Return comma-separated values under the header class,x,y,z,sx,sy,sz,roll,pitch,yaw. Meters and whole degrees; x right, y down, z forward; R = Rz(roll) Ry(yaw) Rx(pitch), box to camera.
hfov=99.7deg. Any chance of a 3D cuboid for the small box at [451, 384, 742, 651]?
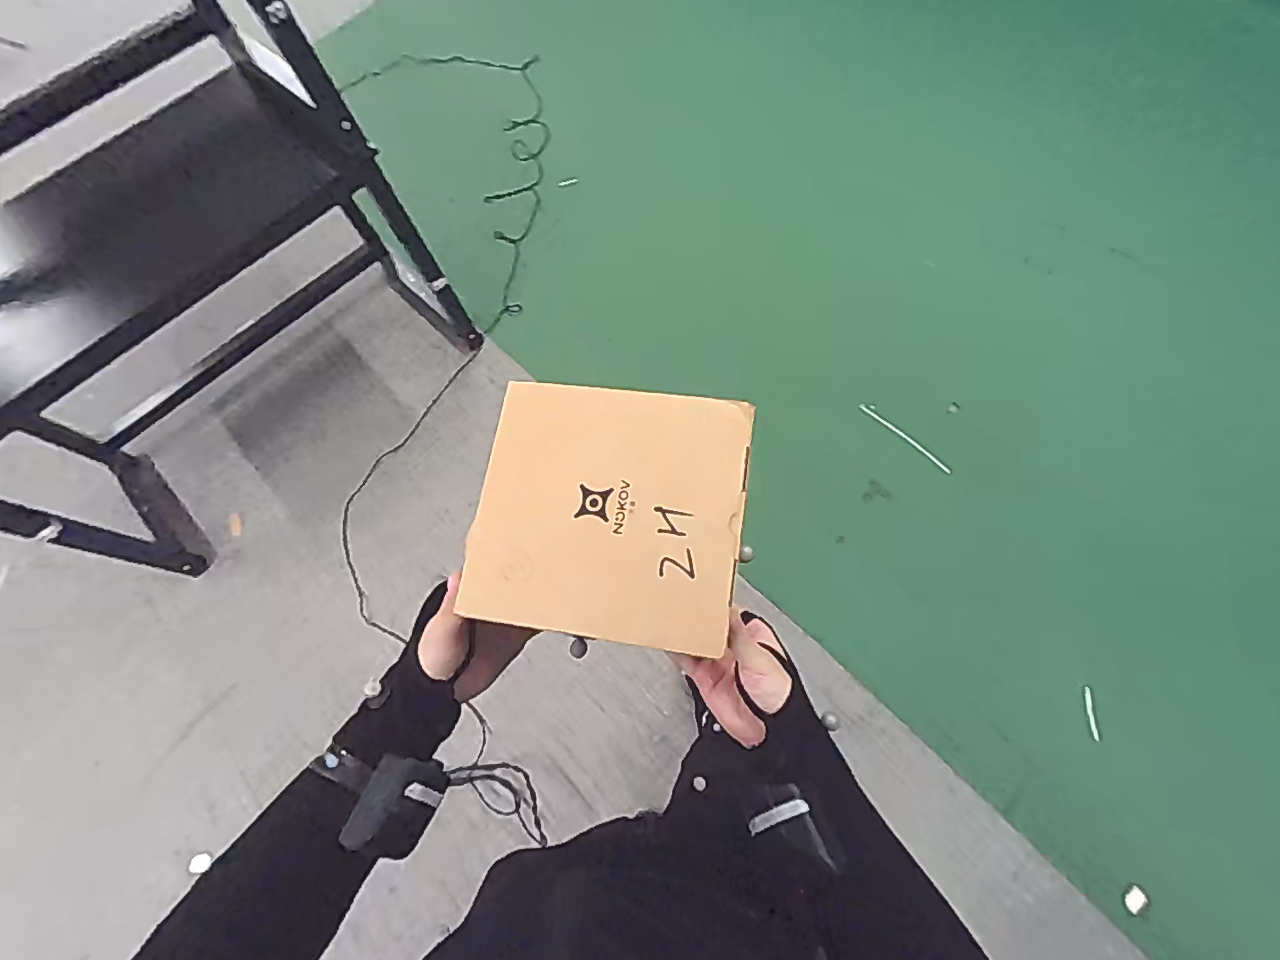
class,x,y,z,sx,sy,sz,roll,pitch,yaw
small box,-0.017,0.038,0.434,0.179,0.176,0.168,6,76,9
